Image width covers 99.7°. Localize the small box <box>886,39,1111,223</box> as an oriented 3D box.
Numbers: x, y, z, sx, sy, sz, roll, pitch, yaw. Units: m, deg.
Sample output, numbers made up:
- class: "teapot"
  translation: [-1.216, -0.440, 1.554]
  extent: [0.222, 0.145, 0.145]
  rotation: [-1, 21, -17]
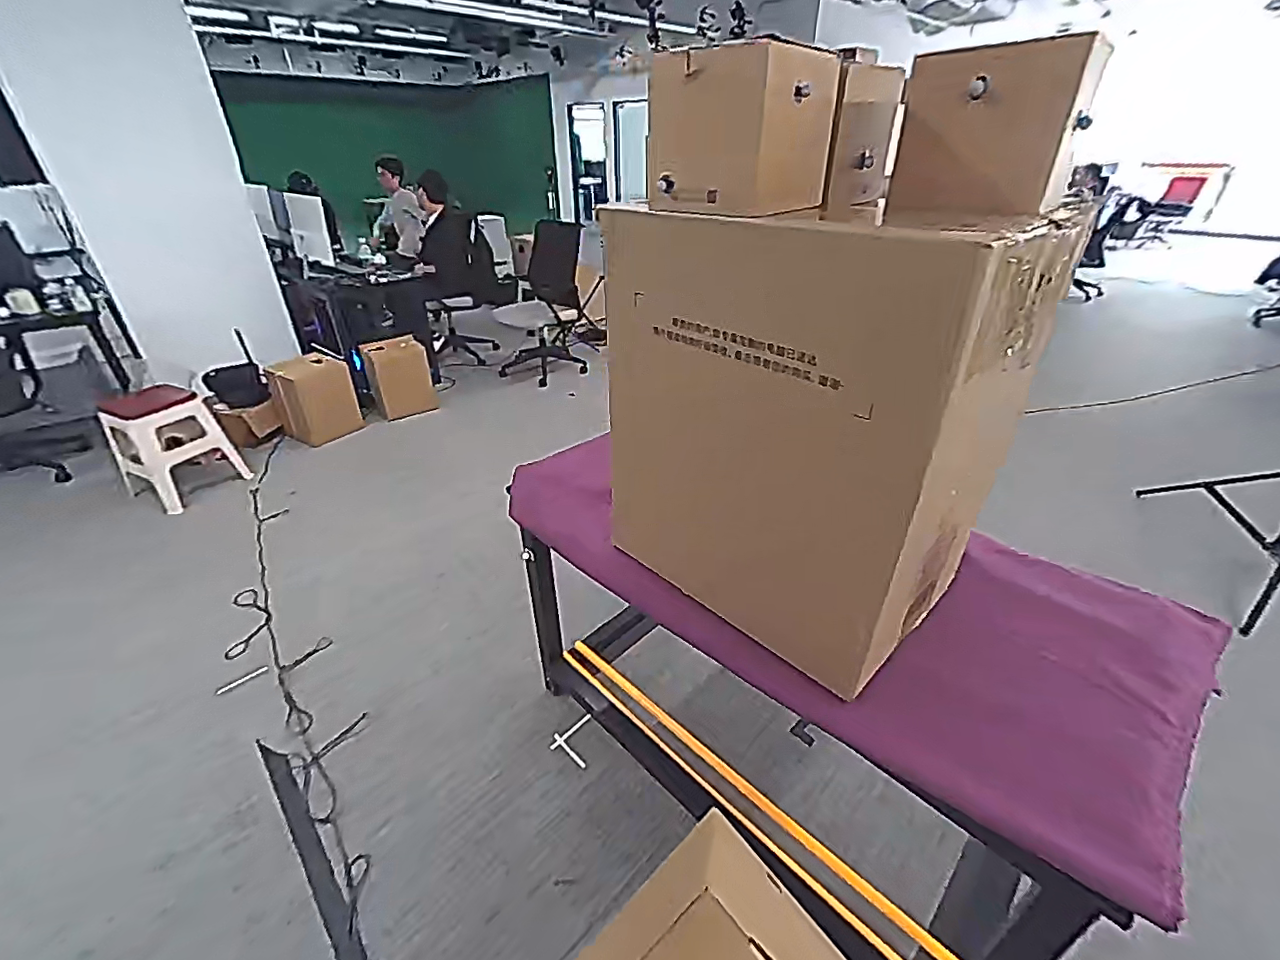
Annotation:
- class: "small box"
  translation: [0.433, -0.419, 0.669]
  extent: [0.179, 0.176, 0.168]
  rotation: [22, 38, 36]
